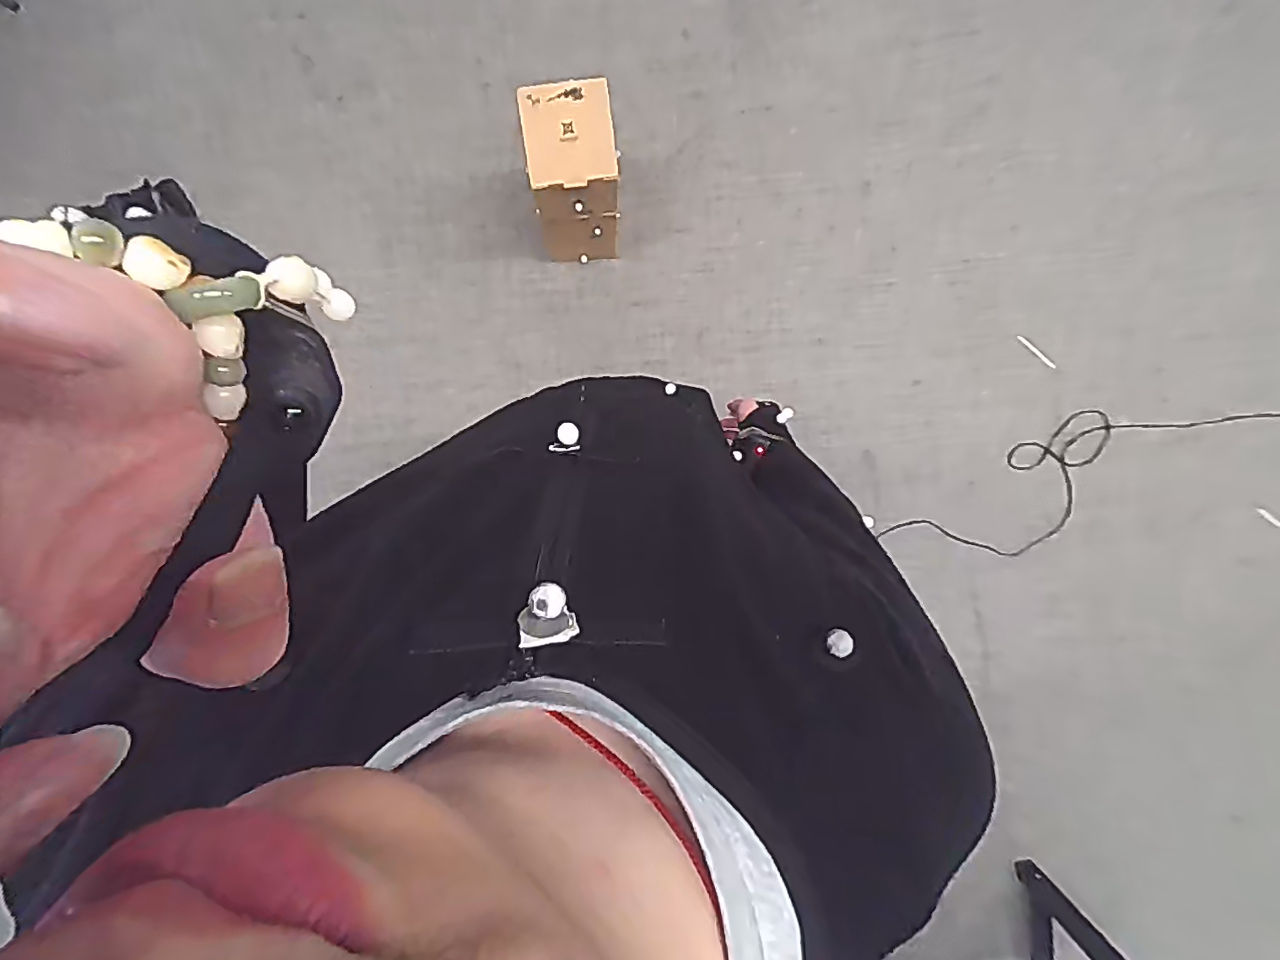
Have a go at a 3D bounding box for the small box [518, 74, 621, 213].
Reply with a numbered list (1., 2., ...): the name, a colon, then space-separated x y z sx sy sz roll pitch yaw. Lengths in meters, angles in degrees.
1. small box: -0.128 -0.640 1.053 0.168 0.176 0.179 -8 98 -1

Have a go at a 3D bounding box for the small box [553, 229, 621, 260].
1. small box: -0.137 -0.679 1.375 0.168 0.176 0.179 -5 97 0

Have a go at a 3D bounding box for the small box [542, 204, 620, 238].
1. small box: -0.134 -0.659 1.215 0.168 0.176 0.179 -6 96 -1
